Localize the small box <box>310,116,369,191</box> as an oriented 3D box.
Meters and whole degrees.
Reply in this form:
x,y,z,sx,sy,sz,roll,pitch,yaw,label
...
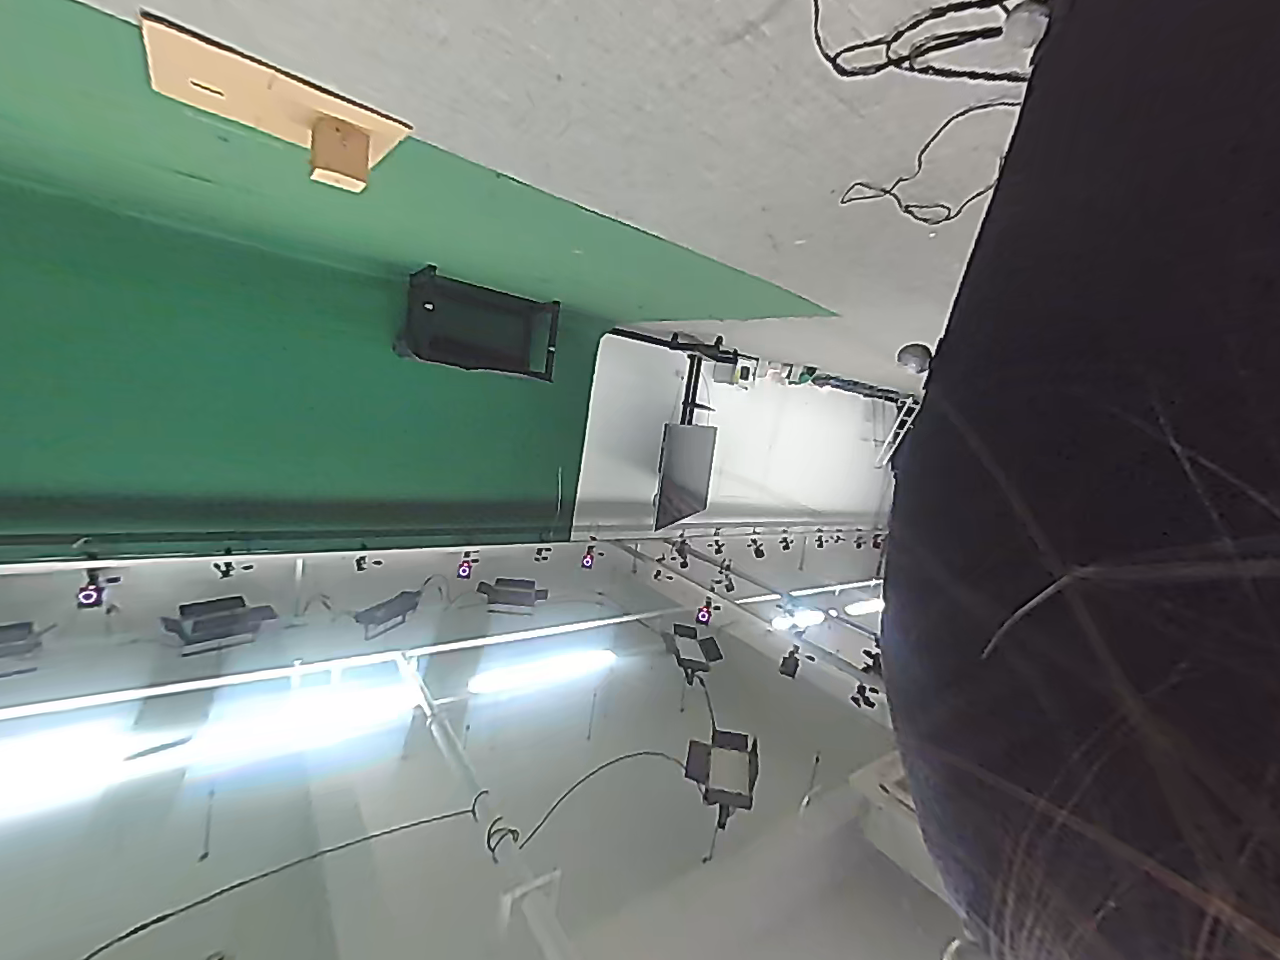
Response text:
x,y,z,sx,sy,sz,roll,pitch,yaw,label
-1.109,-1.202,1.996,0.168,0.176,0.179,0,-168,-38,small box
